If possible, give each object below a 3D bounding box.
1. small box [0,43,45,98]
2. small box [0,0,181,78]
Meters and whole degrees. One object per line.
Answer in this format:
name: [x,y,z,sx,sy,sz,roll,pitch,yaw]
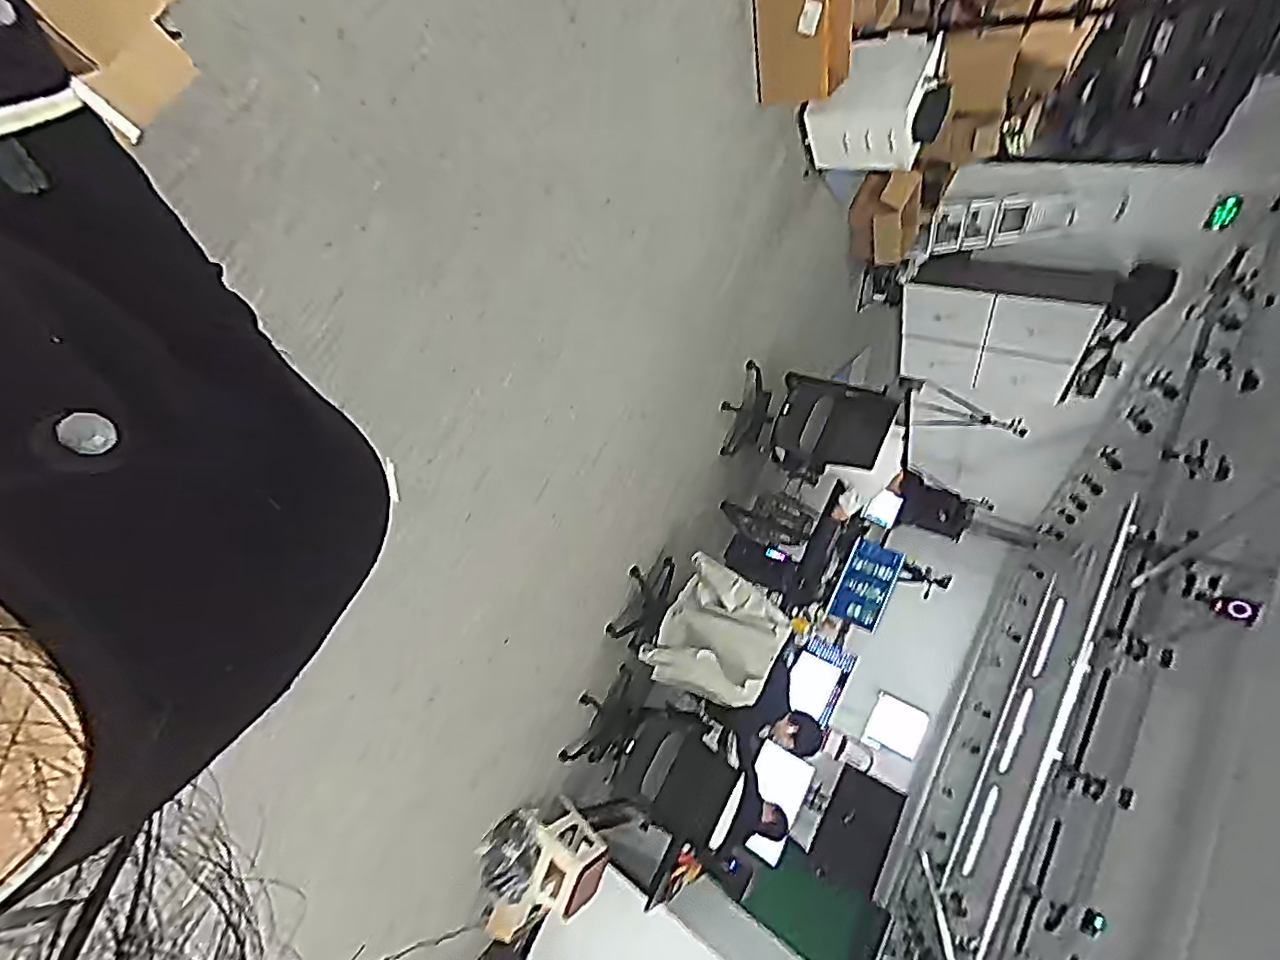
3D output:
small box: [-0.672,-0.516,0.532,0.179,0.176,0.168,-60,148,-11]
small box: [-0.414,-0.407,0.361,0.179,0.176,0.168,-60,148,-13]
